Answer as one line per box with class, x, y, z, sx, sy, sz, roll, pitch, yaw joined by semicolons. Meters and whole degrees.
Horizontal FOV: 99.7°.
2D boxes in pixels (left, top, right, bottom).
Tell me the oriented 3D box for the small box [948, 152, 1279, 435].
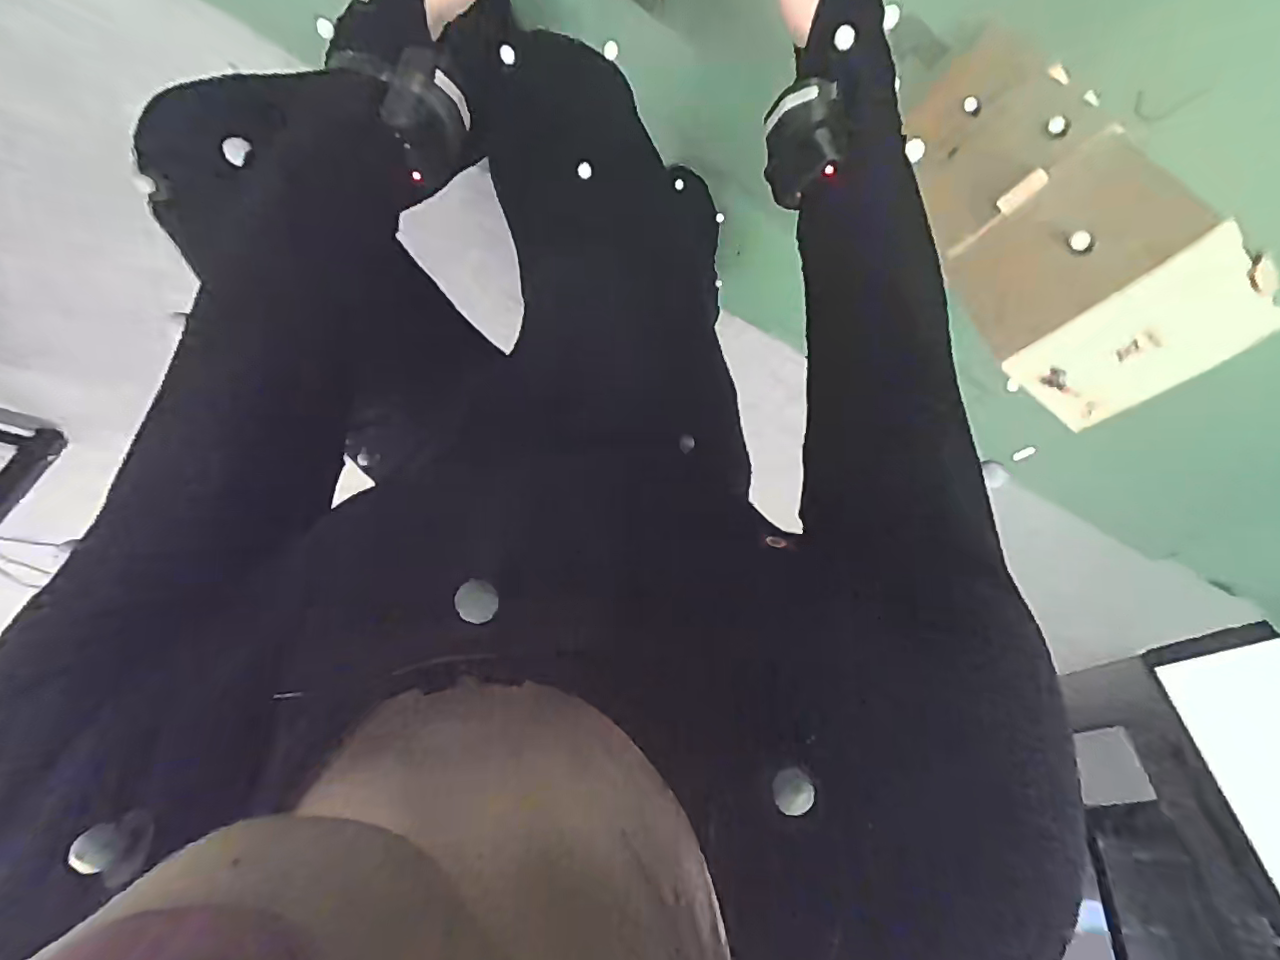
small box;0.459;-0.183;0.548;0.168;0.176;0.179;23;137;-29
